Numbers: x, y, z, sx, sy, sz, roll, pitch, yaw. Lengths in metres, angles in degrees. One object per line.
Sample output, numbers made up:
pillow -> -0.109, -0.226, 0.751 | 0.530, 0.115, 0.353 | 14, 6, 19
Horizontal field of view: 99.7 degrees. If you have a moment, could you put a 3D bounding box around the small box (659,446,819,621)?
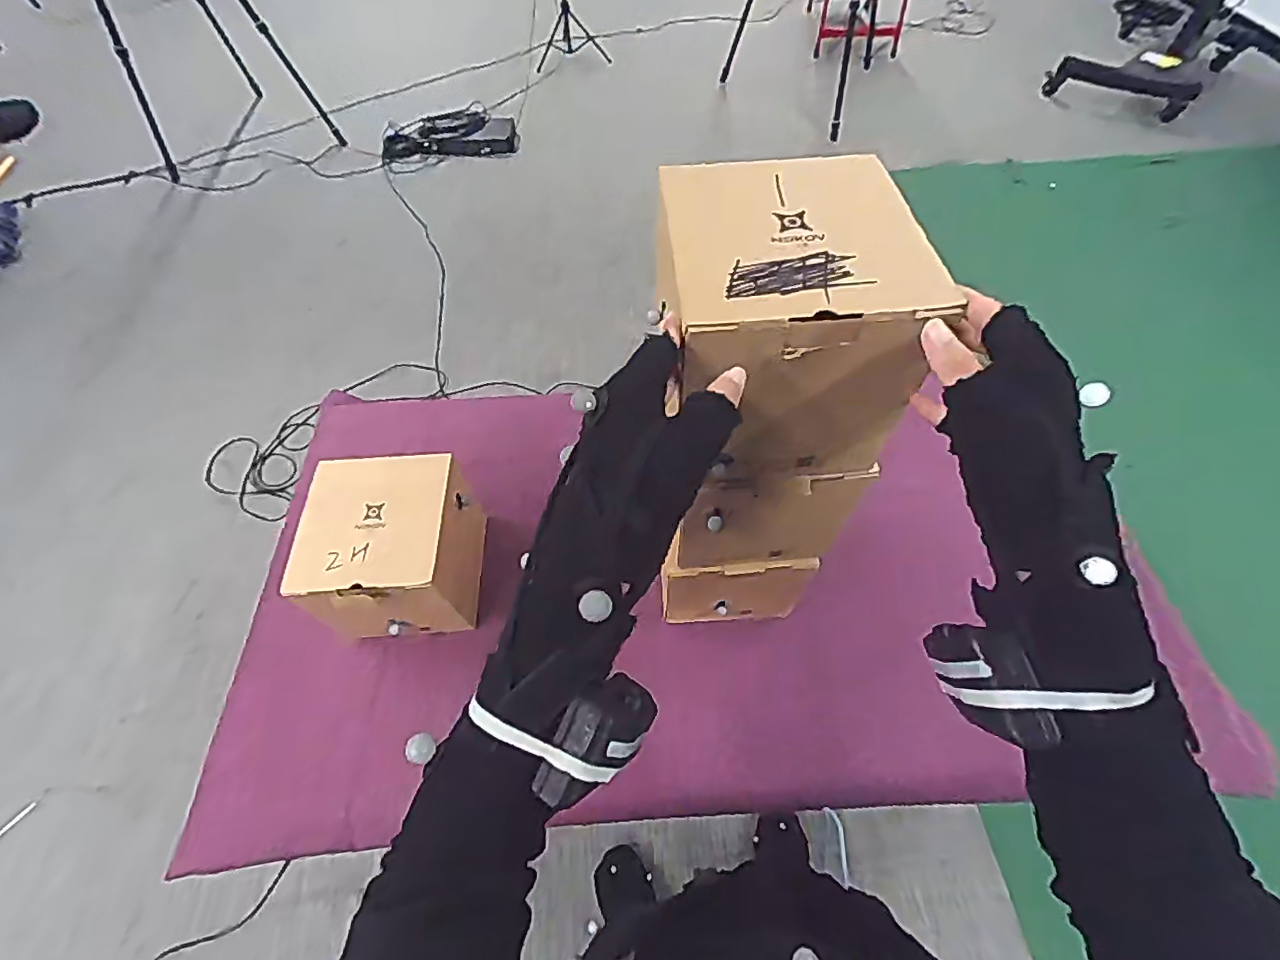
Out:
small box -> 0.112, 0.069, 0.698 | 0.168, 0.176, 0.179 | -4, 59, 0

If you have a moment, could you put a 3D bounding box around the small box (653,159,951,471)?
small box -> 0.100, -0.118, 0.426 | 0.168, 0.176, 0.179 | -4, 56, -1

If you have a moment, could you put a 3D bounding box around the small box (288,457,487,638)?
small box -> -0.303, 0.090, 0.698 | 0.168, 0.176, 0.179 | -4, 58, 0
